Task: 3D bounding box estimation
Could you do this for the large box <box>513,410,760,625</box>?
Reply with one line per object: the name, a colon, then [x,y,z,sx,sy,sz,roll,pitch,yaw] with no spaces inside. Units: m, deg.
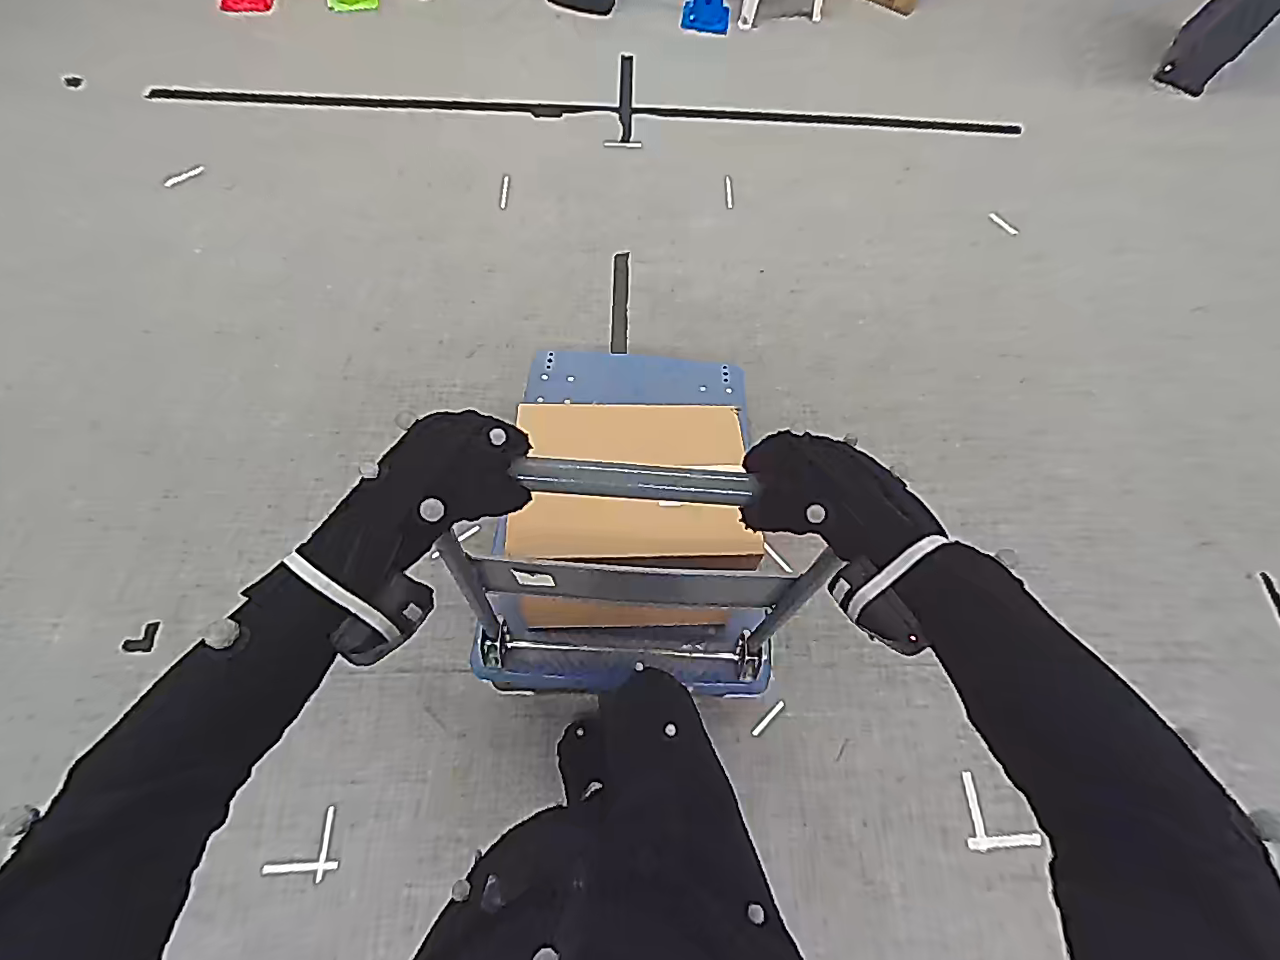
large box: [-0.024,0.079,1.059,0.408,0.320,0.320,0,56,-6]
